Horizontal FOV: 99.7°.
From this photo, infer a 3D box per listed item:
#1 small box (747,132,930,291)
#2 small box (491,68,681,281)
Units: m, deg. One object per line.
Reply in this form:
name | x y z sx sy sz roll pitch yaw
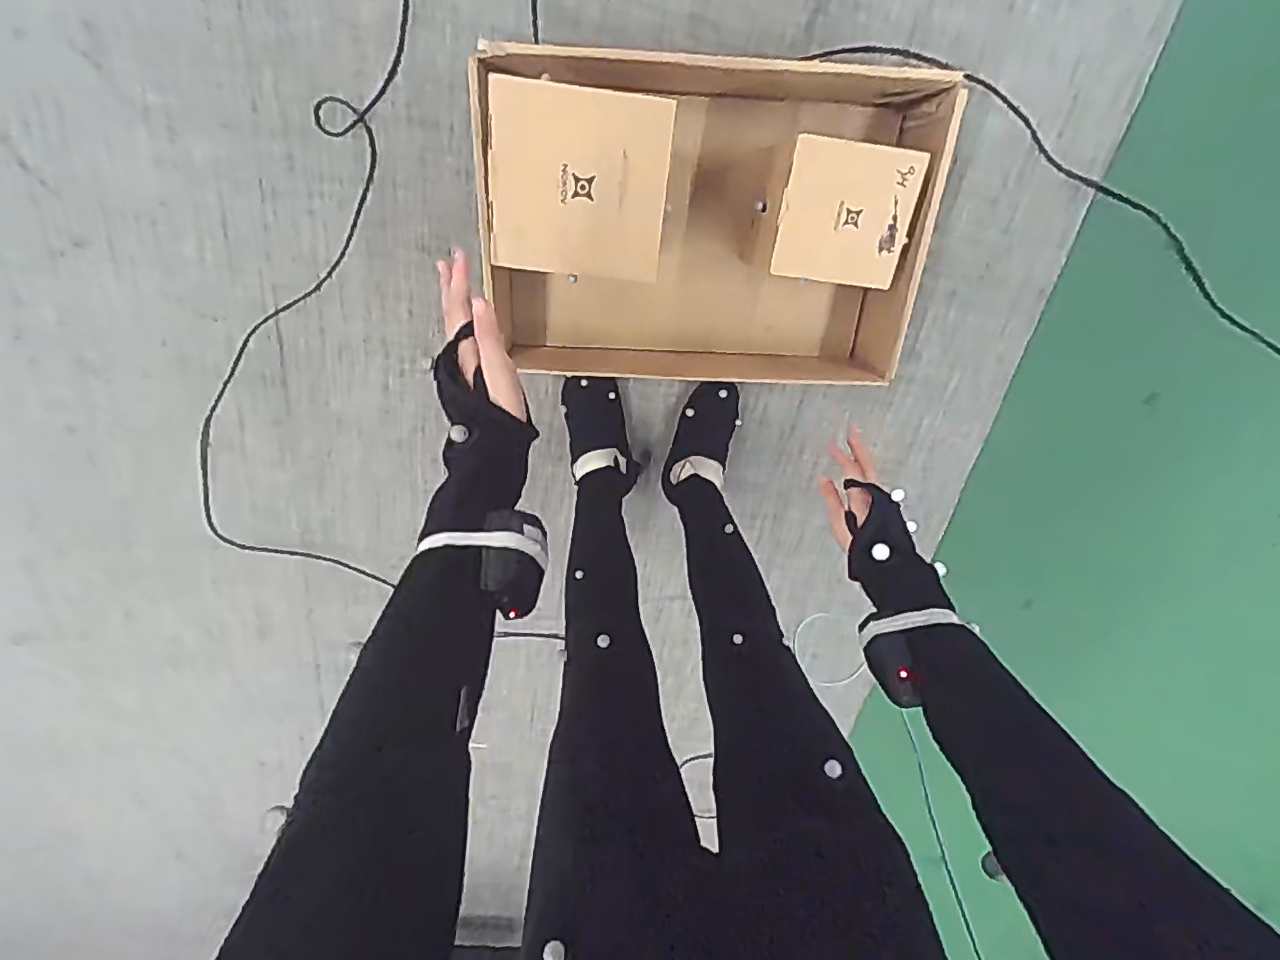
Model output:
small box | 0.265 -0.377 0.775 0.179 0.176 0.168 7 115 -5
small box | -0.061 -0.328 0.603 0.179 0.176 0.168 5 117 -6
